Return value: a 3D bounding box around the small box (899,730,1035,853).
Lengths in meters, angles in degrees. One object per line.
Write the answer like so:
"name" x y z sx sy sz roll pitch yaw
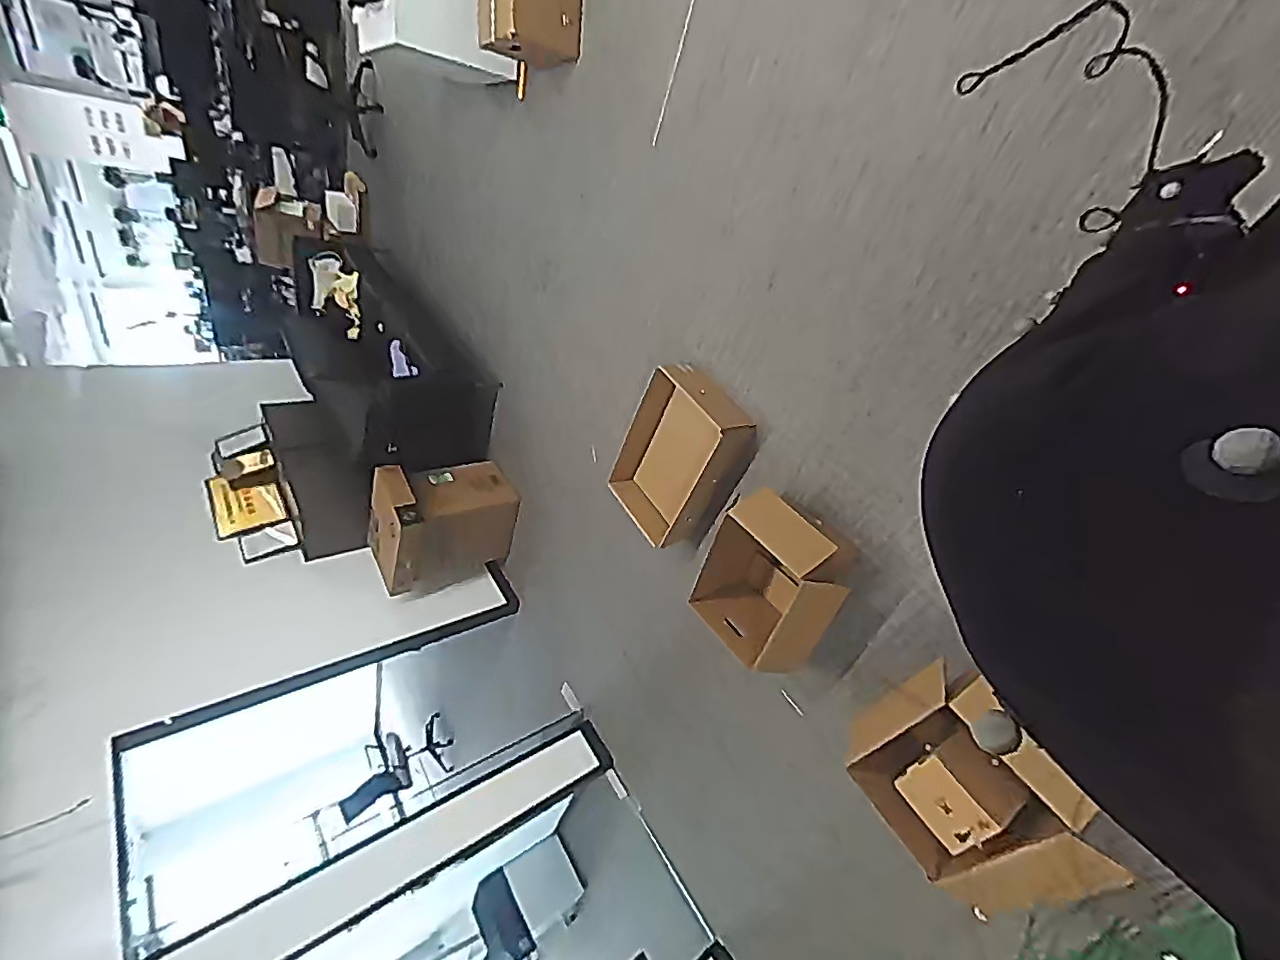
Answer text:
"small box" 0.756 0.711 1.254 0.179 0.176 0.168 53 138 34
